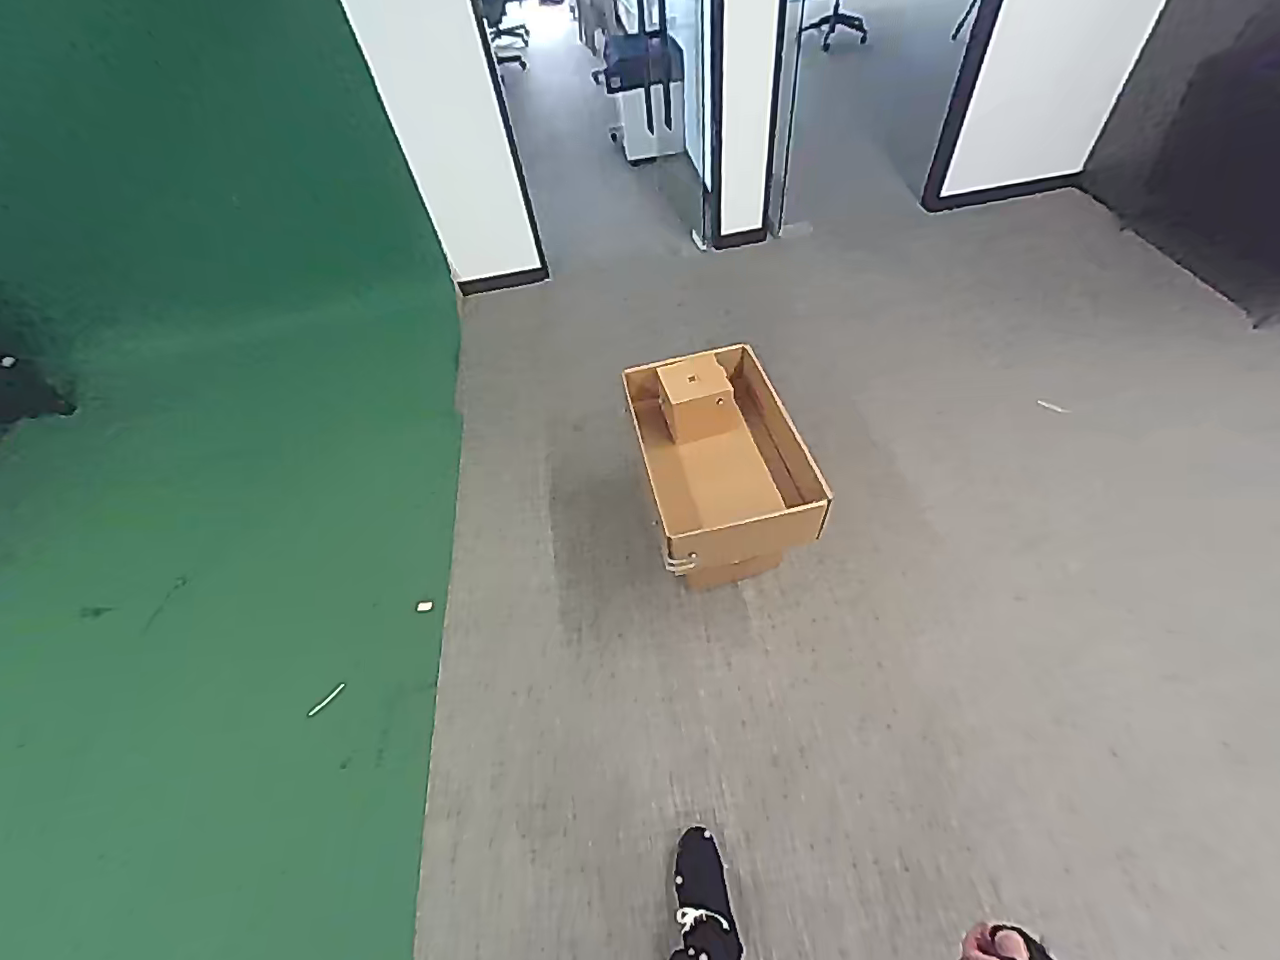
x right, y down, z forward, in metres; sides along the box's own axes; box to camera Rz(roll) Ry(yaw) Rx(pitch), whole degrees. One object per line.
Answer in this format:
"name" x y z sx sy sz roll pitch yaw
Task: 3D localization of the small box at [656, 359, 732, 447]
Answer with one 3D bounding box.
"small box" 0.157 -0.219 1.562 0.179 0.176 0.168 -15 50 -5
